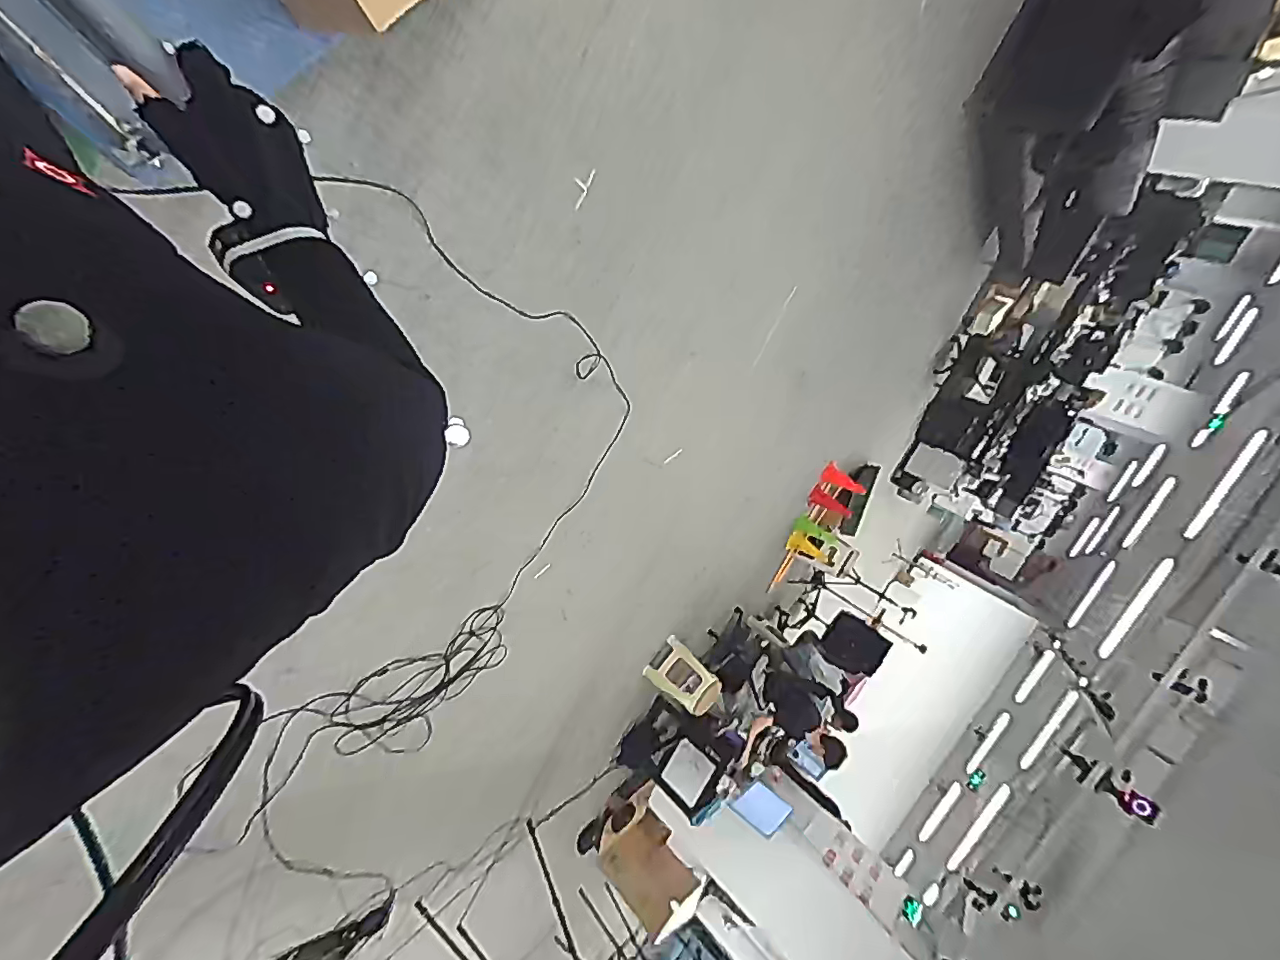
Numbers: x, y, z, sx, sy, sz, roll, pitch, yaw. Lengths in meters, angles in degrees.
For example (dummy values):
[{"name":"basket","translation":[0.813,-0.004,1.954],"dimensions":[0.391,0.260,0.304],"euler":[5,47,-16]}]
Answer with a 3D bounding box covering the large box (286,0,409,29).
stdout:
[{"name":"large box","translation":[-0.452,-0.919,0.721],"dimensions":[0.320,0.320,0.408],"euler":[-49,145,-10]}]
